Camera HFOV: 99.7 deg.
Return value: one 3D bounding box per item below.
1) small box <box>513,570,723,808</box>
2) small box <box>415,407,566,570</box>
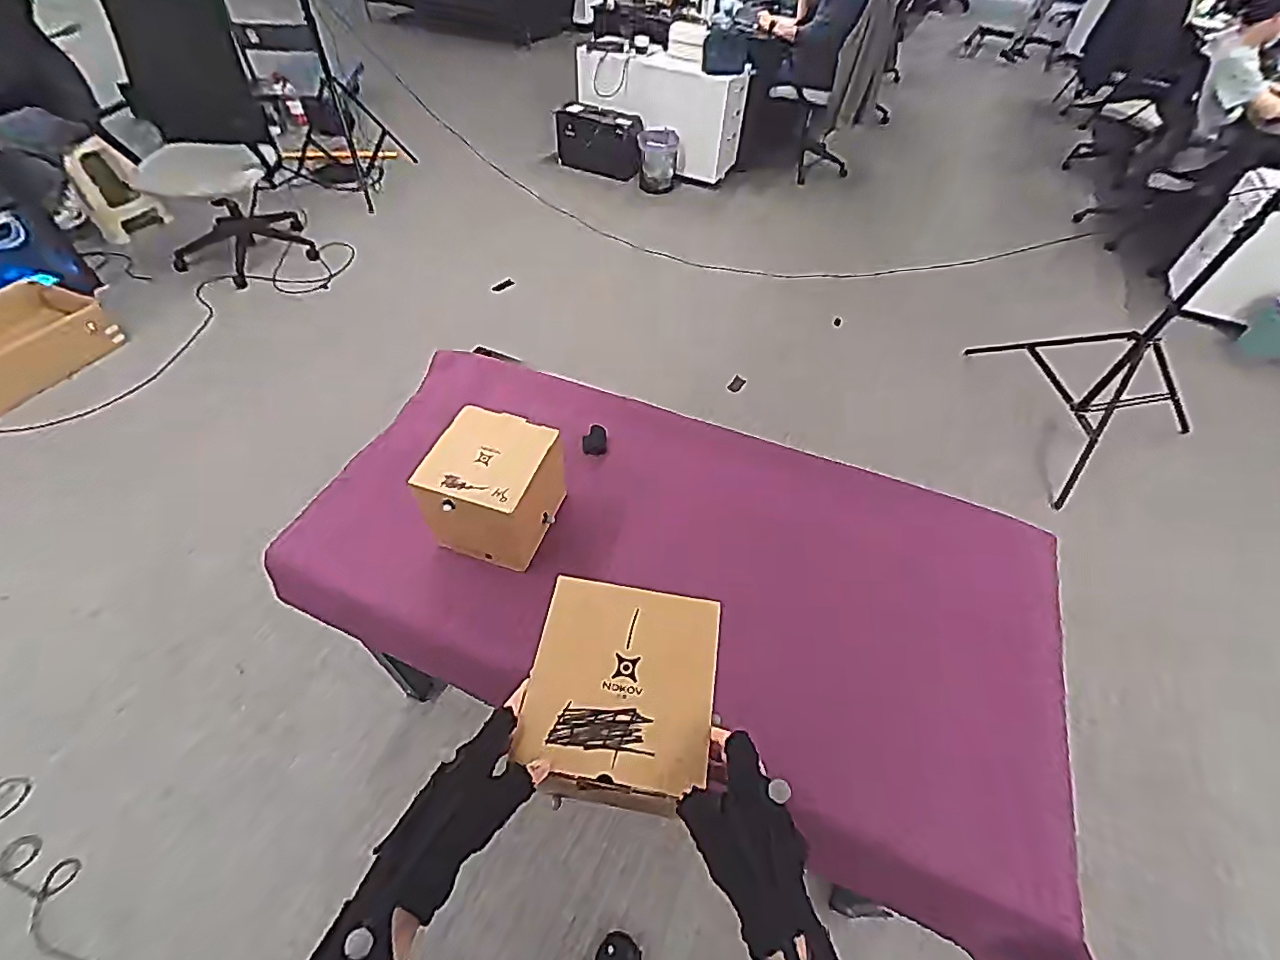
[{"bbox_3d":[-0.014,0.218,0.554,0.168,0.176,0.179,9,53,4],"label":"small box"},{"bbox_3d":[-0.229,0.015,0.877,0.168,0.176,0.179,16,50,9],"label":"small box"}]
